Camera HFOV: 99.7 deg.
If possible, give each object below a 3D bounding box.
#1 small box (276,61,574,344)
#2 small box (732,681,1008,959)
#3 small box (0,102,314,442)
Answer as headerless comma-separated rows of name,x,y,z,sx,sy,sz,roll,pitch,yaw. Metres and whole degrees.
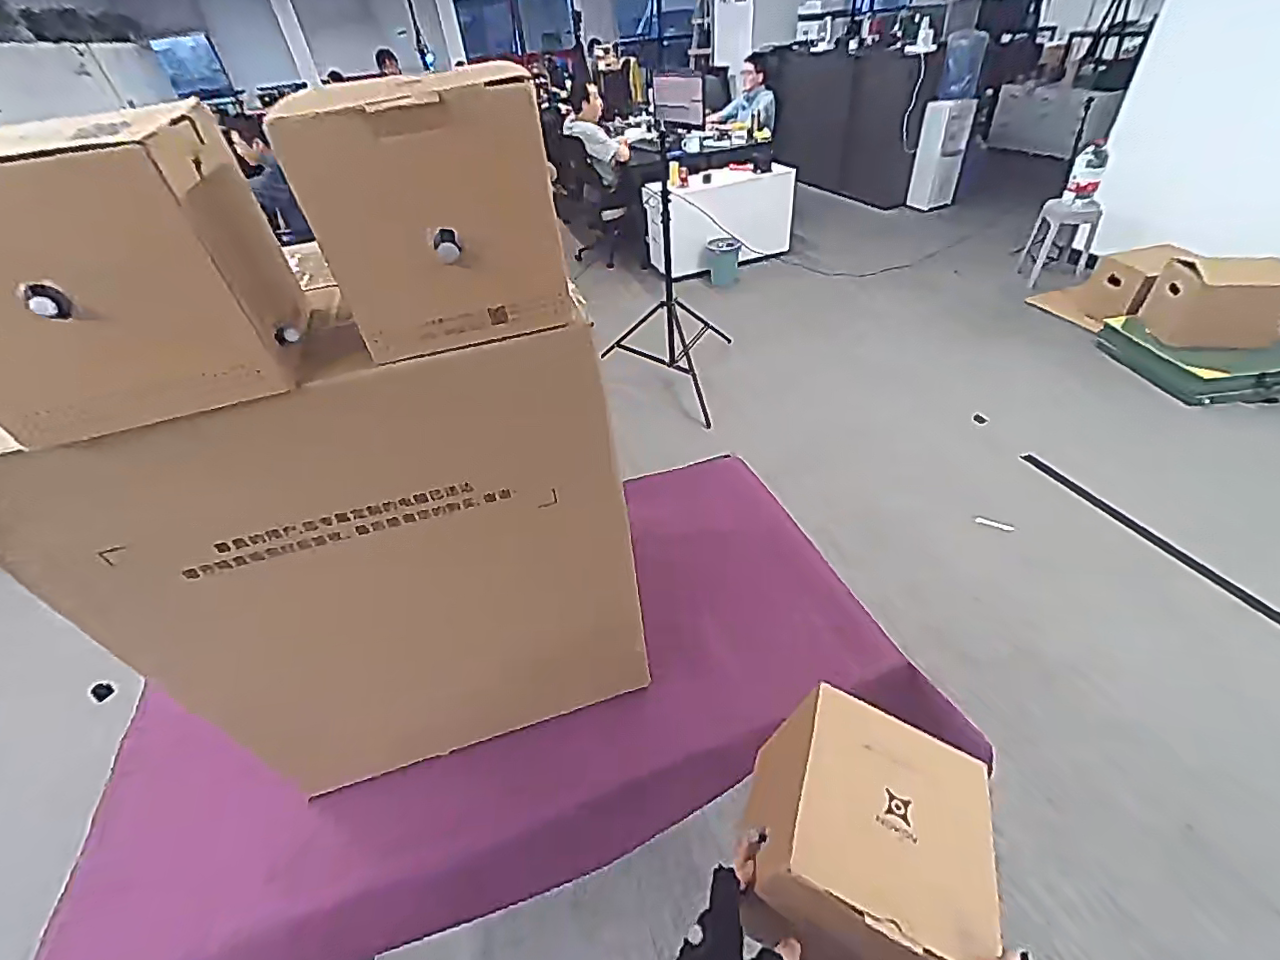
small box,-0.159,-0.227,0.450,0.168,0.176,0.179,-14,43,-9
small box,0.199,0.335,0.504,0.168,0.176,0.179,25,39,9
small box,-0.371,-0.154,0.396,0.179,0.176,0.168,-18,43,-11
